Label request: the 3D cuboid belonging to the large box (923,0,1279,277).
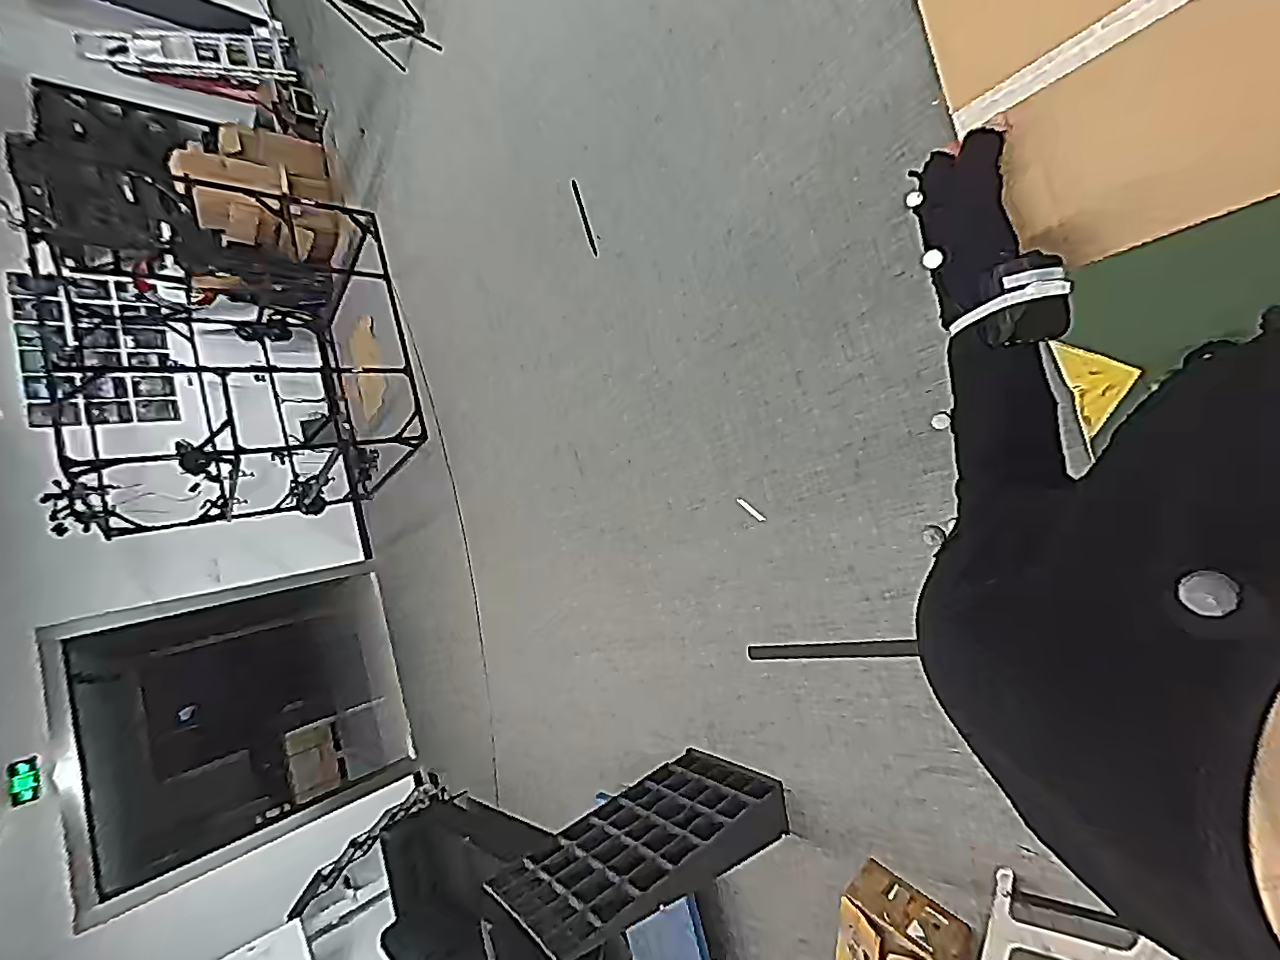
[{"bbox_3d":[0.517,-0.407,0.436,0.408,0.320,0.320,-15,98,49],"label":"large box"}]
